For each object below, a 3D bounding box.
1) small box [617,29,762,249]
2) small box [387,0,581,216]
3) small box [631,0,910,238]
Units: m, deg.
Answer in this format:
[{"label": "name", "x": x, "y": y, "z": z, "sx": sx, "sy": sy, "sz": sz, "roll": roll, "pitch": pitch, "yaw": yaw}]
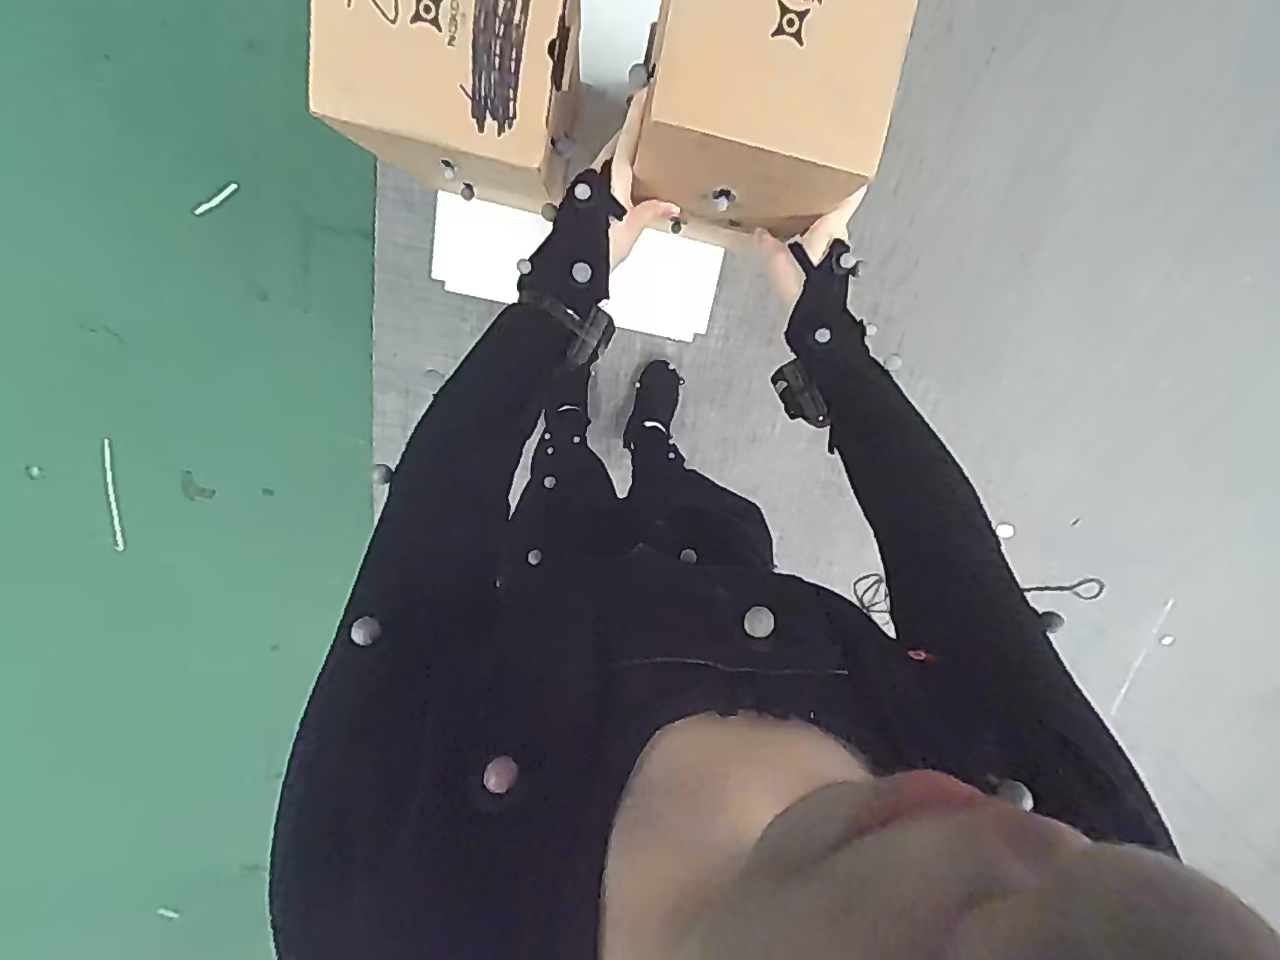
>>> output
[{"label": "small box", "x": 0.072, "y": -0.389, "z": 0.655, "sx": 0.179, "sy": 0.176, "sz": 0.168, "roll": 12, "pitch": 108, "yaw": -8}, {"label": "small box", "x": -0.169, "y": -0.418, "z": 0.625, "sx": 0.179, "sy": 0.176, "sz": 0.168, "roll": 10, "pitch": 108, "yaw": -9}, {"label": "small box", "x": 0.091, "y": -0.323, "z": 0.447, "sx": 0.168, "sy": 0.176, "sz": 0.179, "roll": 10, "pitch": 97, "yaw": -9}]
